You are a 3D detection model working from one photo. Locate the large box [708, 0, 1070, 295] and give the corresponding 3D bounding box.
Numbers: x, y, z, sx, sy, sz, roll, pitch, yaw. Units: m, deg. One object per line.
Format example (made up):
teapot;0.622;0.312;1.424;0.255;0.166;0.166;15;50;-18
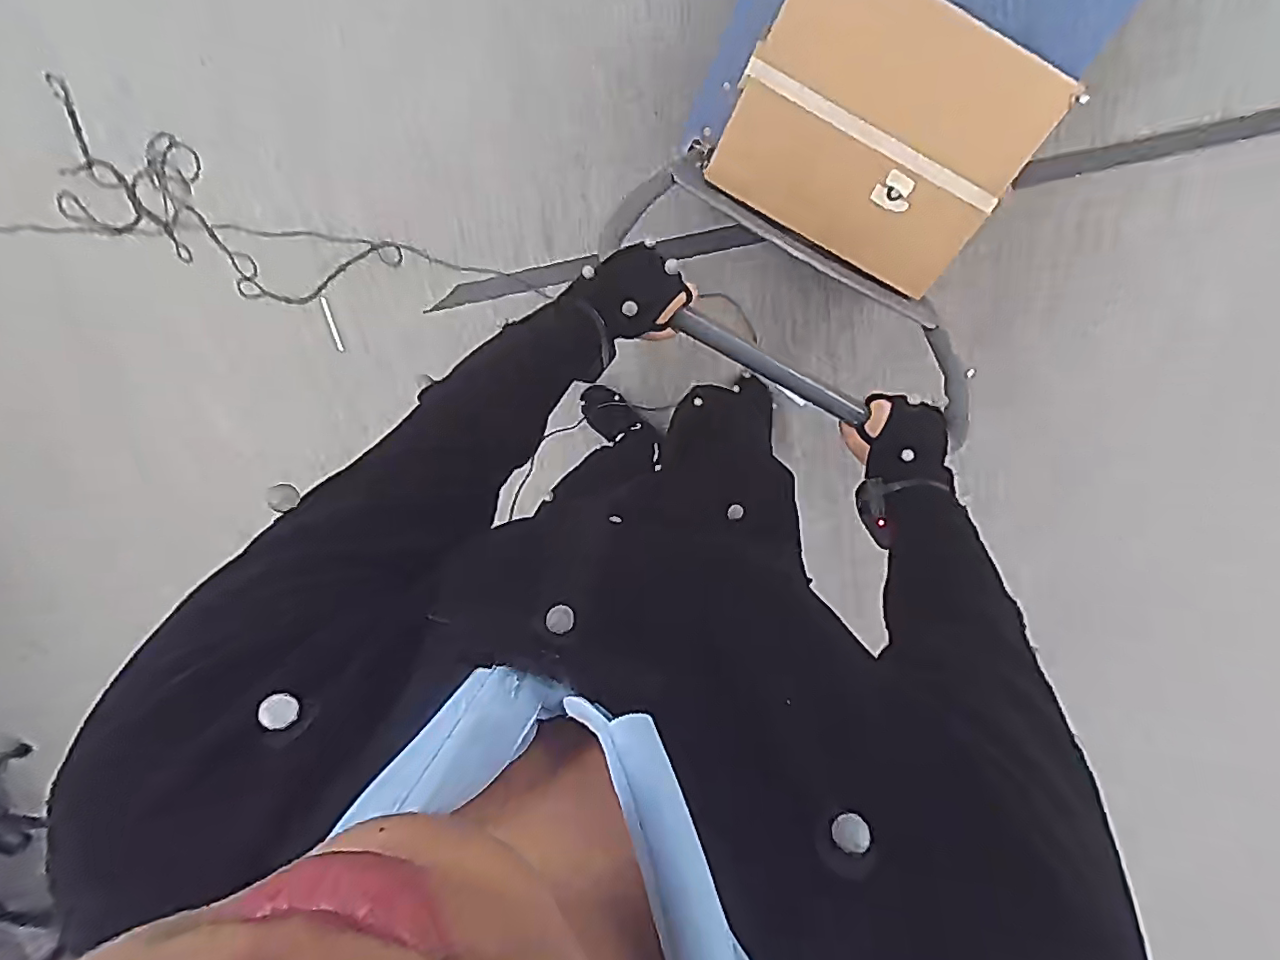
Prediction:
large box;0.370;-0.579;0.918;0.408;0.320;0.320;27;126;-5
